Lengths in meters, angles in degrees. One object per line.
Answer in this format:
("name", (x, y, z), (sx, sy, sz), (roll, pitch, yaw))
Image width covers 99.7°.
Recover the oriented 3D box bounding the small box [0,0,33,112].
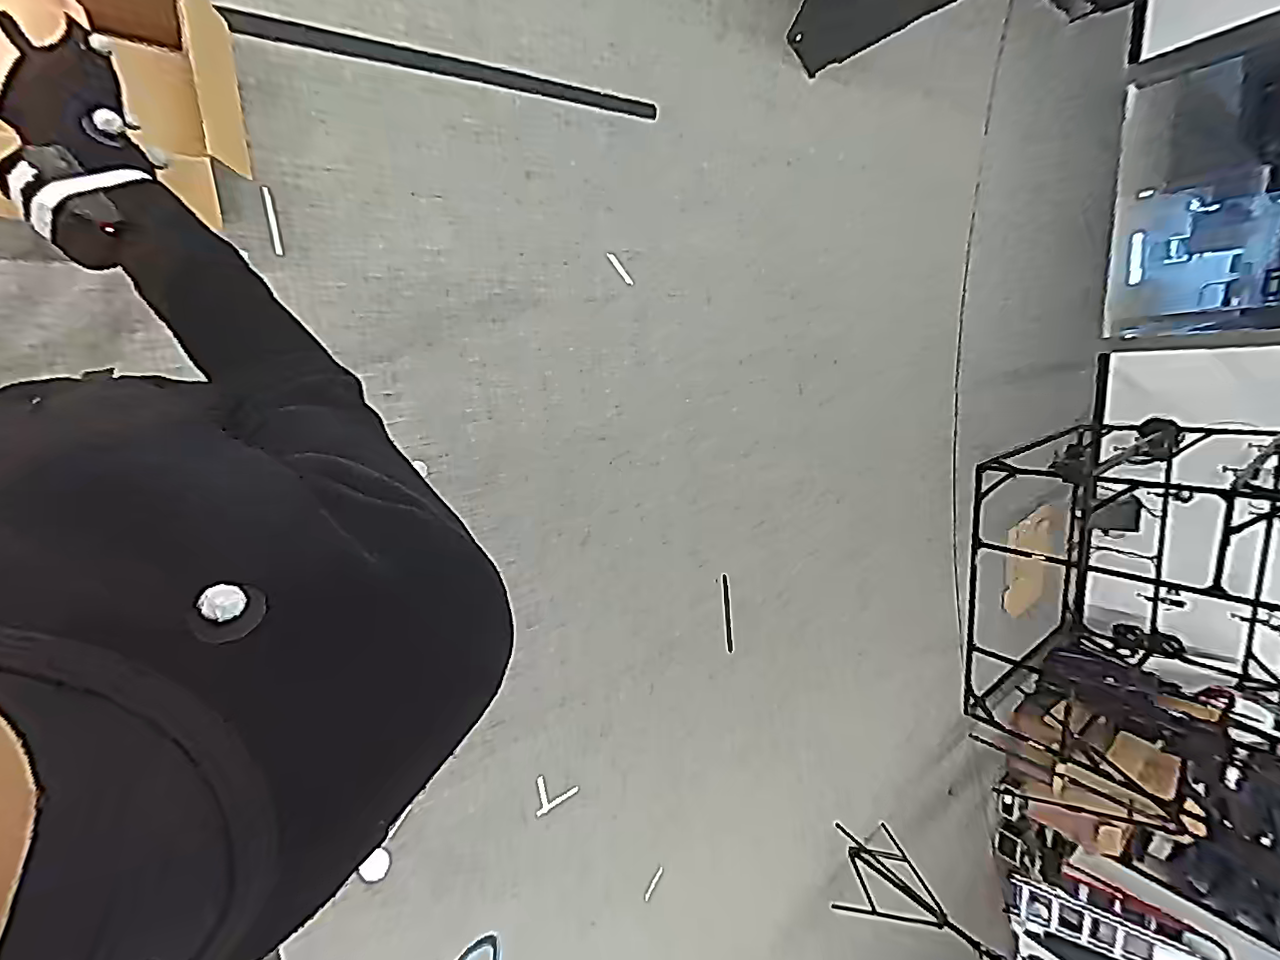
("small box", (-0.572, -0.403, 0.383), (0.168, 0.176, 0.179), (-11, 109, -43))
